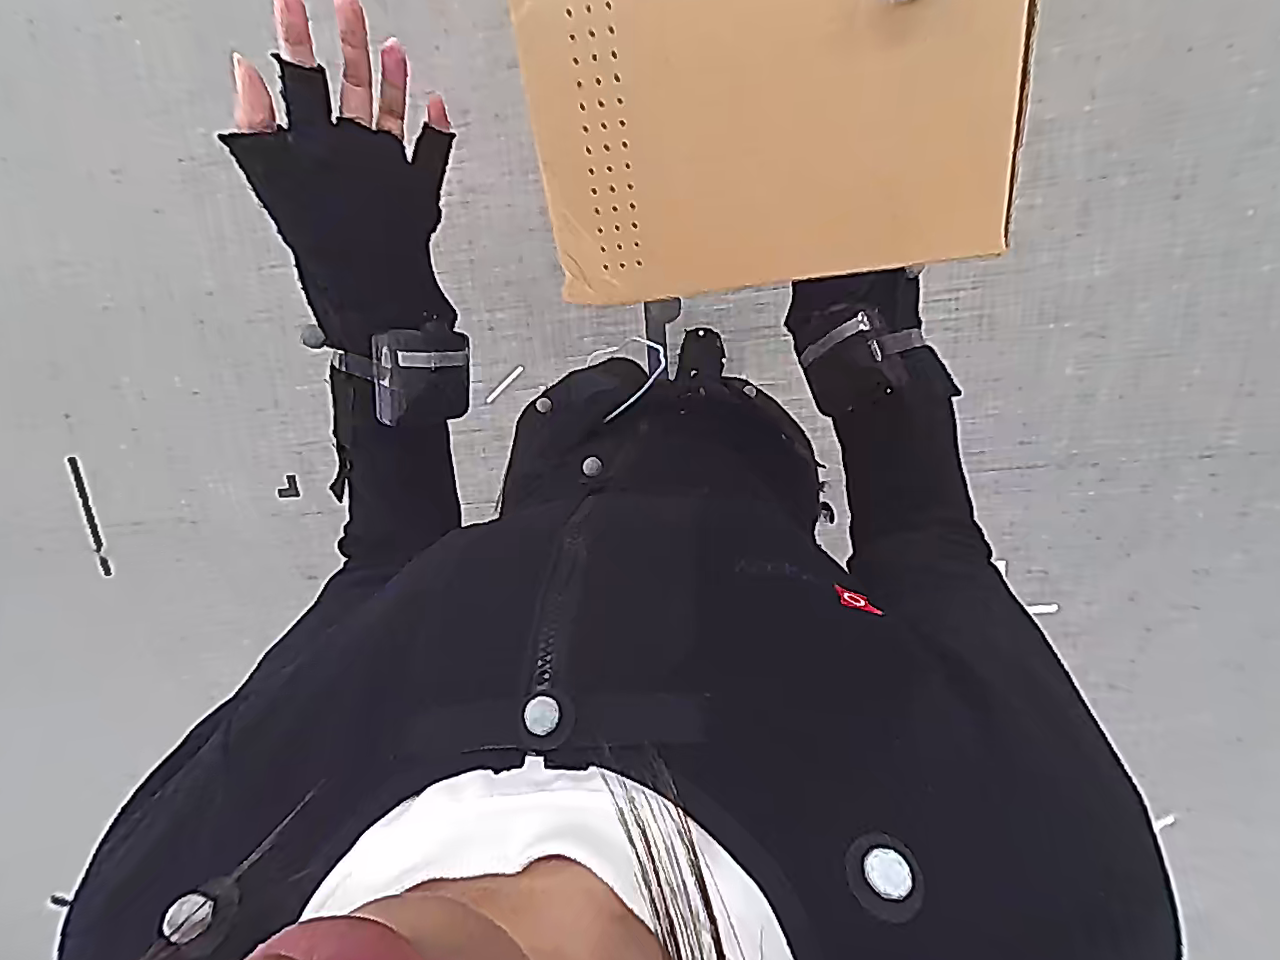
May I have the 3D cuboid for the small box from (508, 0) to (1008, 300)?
[{"bbox_3d":[0.038,-0.192,0.252,0.176,0.168,0.179,-6,114,6],"label":"small box"}]
